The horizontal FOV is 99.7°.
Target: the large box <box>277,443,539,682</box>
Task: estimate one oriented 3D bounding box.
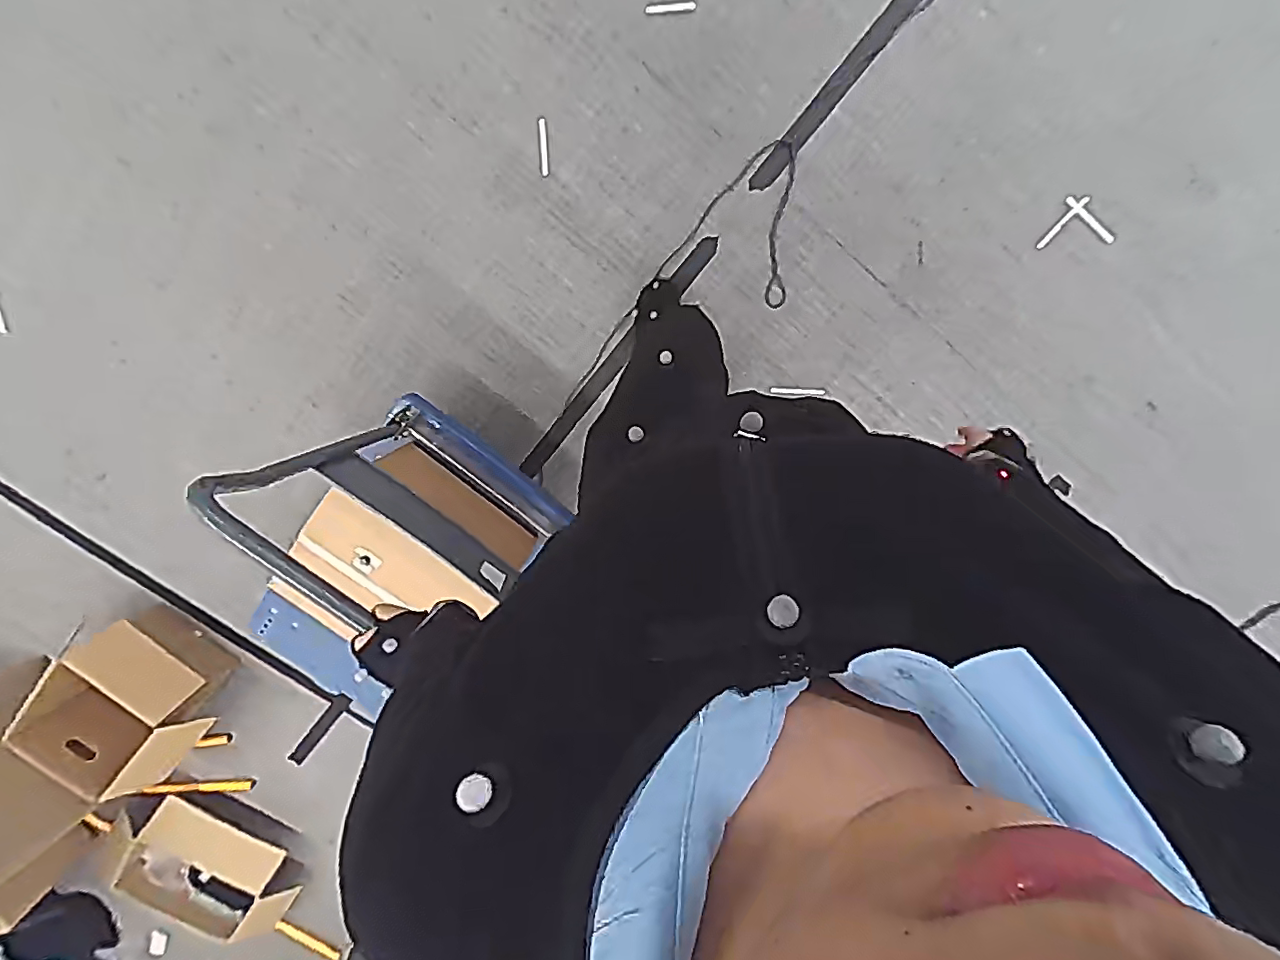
[{"bbox_3d":[-0.513,0.178,1.272,0.408,0.320,0.320,39,105,-8],"label":"large box"}]
